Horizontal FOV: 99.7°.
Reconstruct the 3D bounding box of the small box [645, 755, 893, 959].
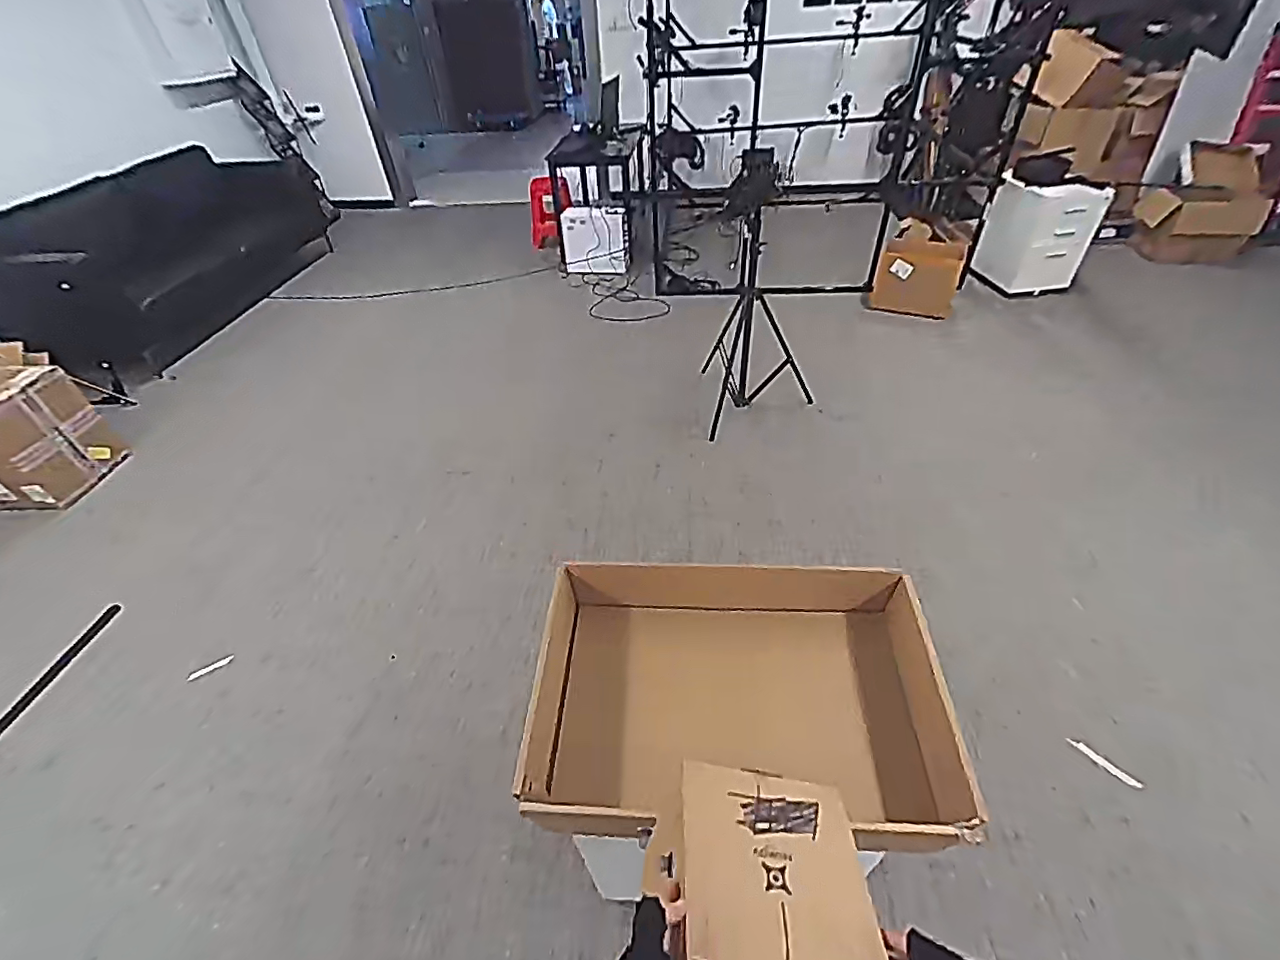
[{"bbox_3d":[0.101,0.398,0.500,0.168,0.176,0.179,12,26,-3],"label":"small box"}]
